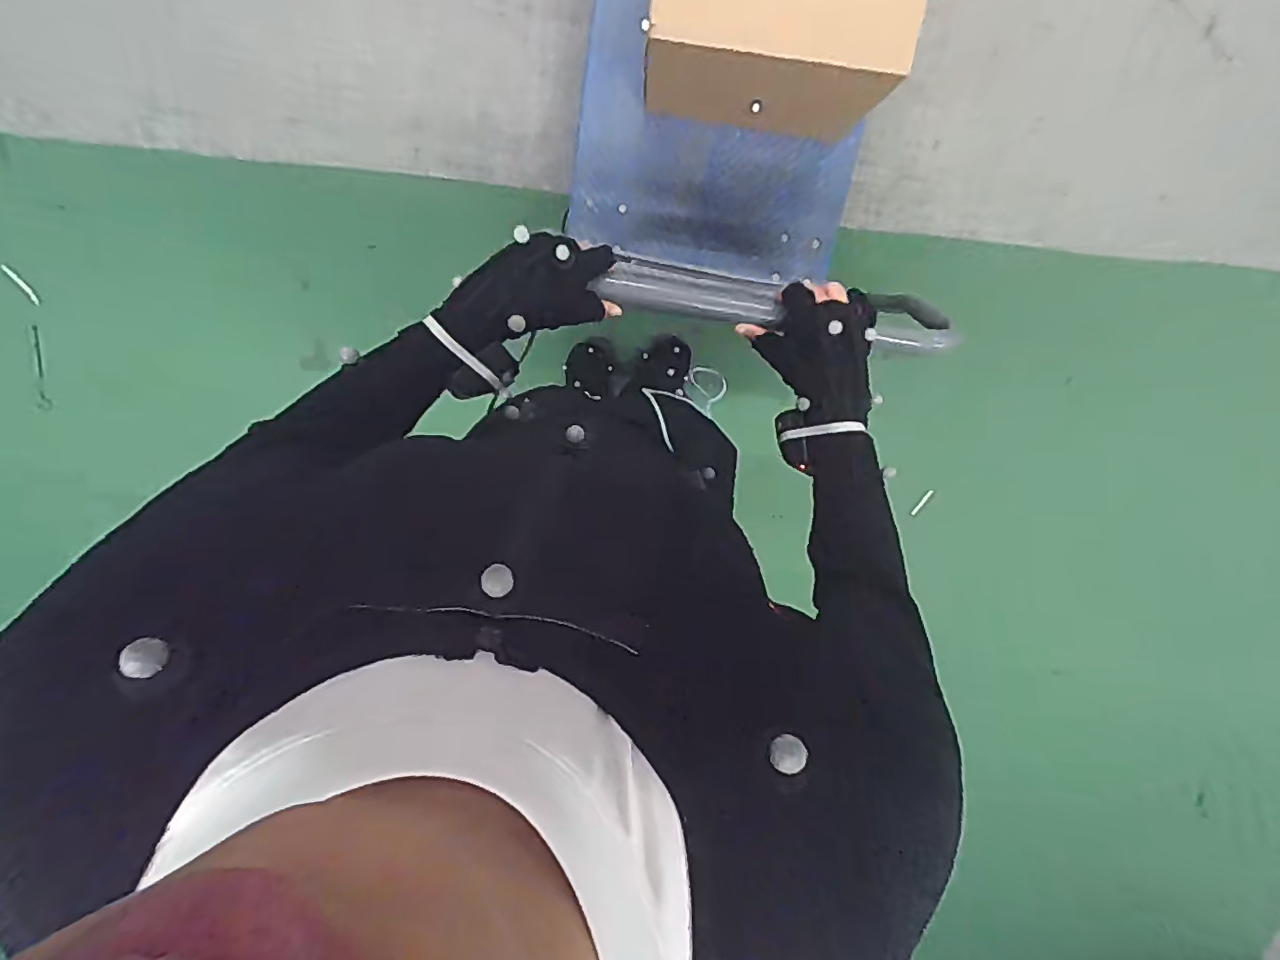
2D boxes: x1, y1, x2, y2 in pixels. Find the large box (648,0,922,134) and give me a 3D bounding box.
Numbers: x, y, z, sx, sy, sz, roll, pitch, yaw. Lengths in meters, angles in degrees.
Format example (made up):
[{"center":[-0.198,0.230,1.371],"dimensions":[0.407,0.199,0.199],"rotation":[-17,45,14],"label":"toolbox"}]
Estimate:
[{"center":[0.231,-0.830,0.923],"dimensions":[0.408,0.320,0.320],"rotation":[7,105,-2],"label":"large box"}]
